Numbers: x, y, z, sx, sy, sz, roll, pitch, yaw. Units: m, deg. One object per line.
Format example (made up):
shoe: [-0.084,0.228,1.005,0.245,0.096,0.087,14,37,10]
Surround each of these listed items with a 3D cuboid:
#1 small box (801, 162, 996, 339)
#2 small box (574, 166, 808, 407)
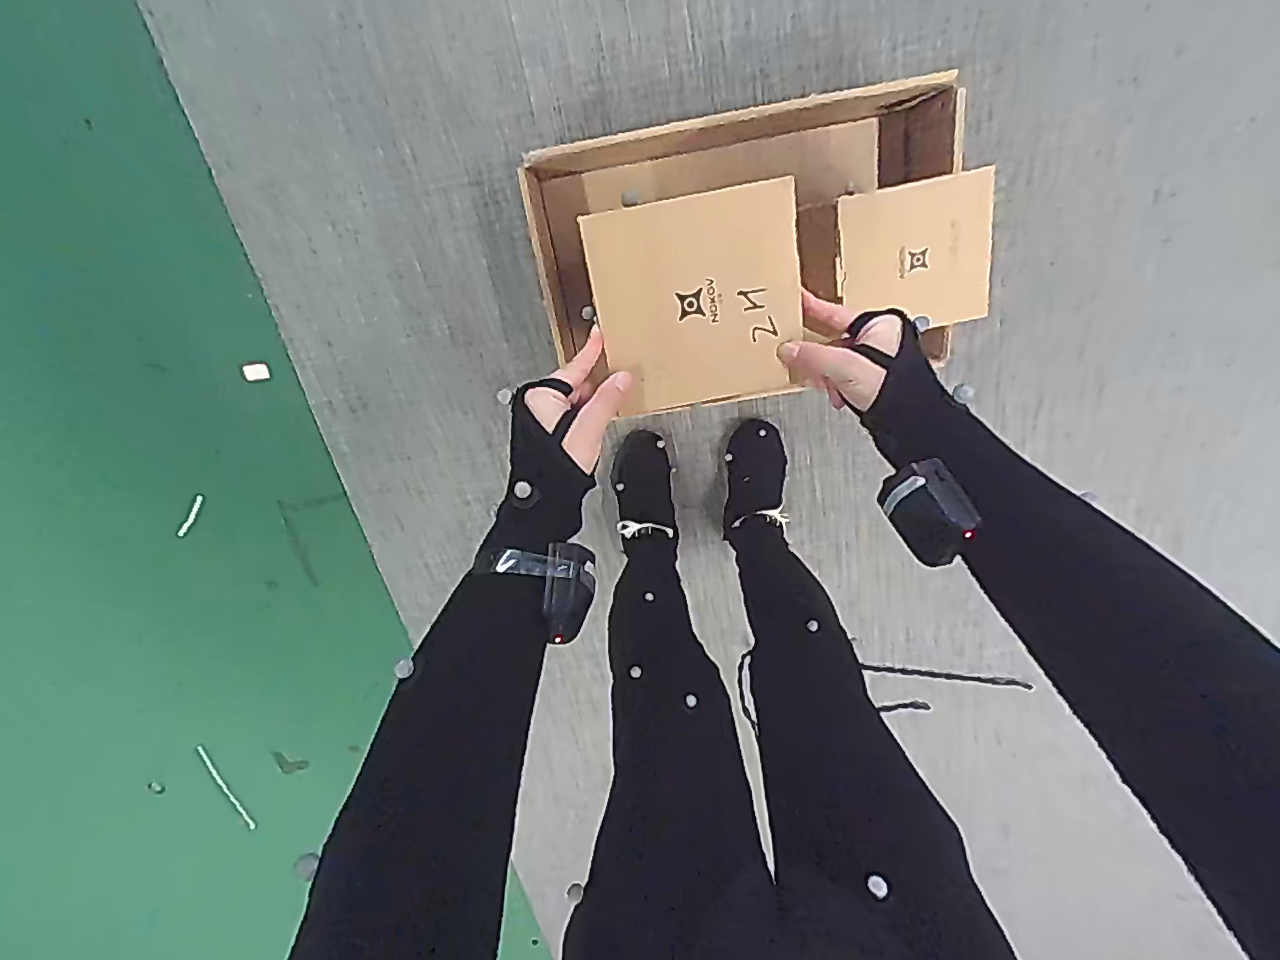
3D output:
small box: [0.314,-0.290,0.694,0.179,0.176,0.168,-11,114,3]
small box: [0.044,-0.178,0.517,0.179,0.176,0.168,-11,110,1]
